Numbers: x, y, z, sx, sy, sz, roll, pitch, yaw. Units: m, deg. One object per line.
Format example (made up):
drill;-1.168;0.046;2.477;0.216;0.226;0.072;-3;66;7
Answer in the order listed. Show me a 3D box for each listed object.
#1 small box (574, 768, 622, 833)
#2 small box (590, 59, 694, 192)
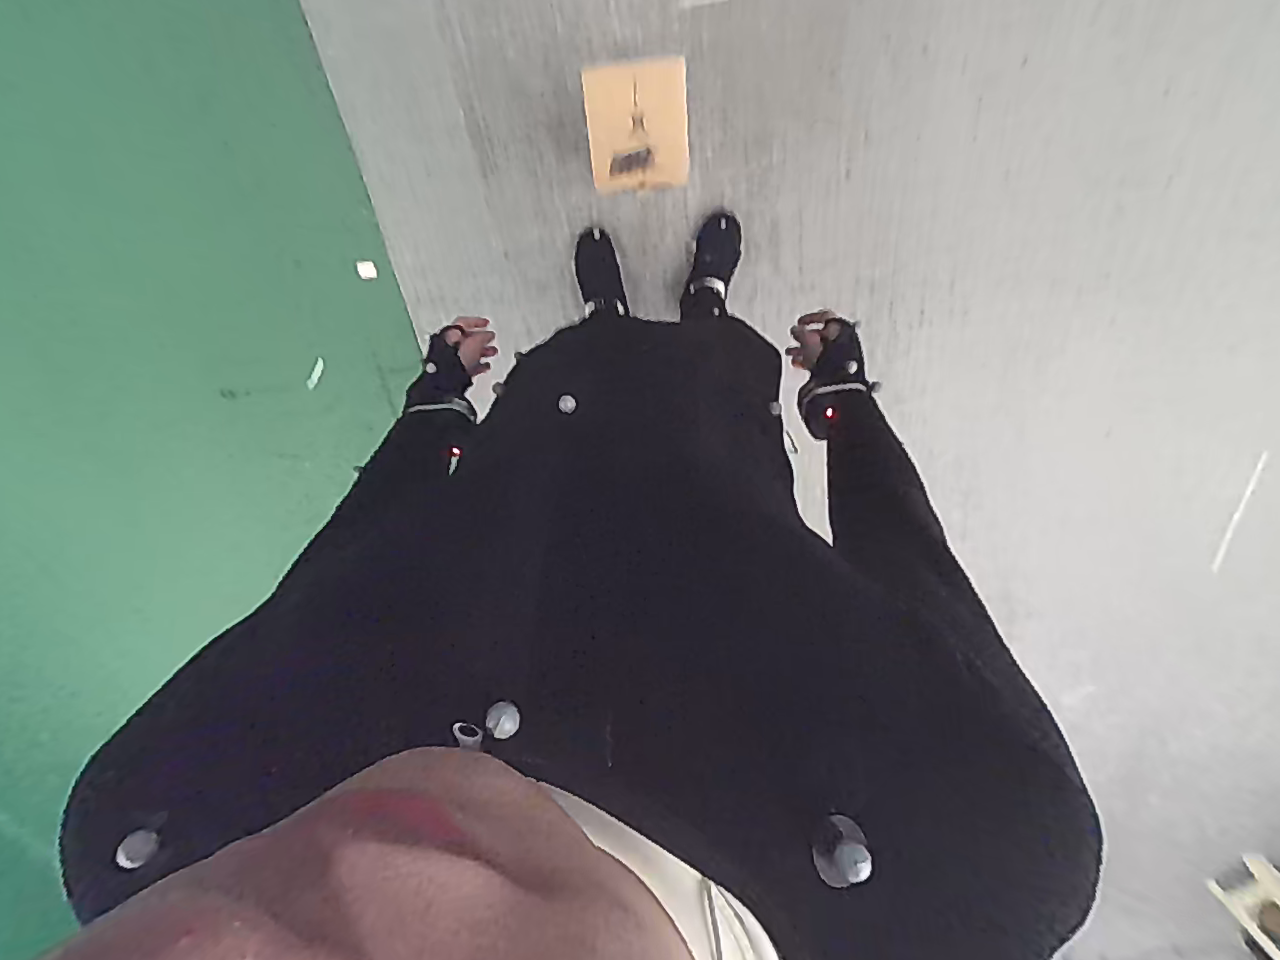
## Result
small box;-0.169;1.331;2.250;0.168;0.176;0.179;-8;119;4
small box;0.009;-0.625;0.965;0.168;0.176;0.179;-4;120;3
